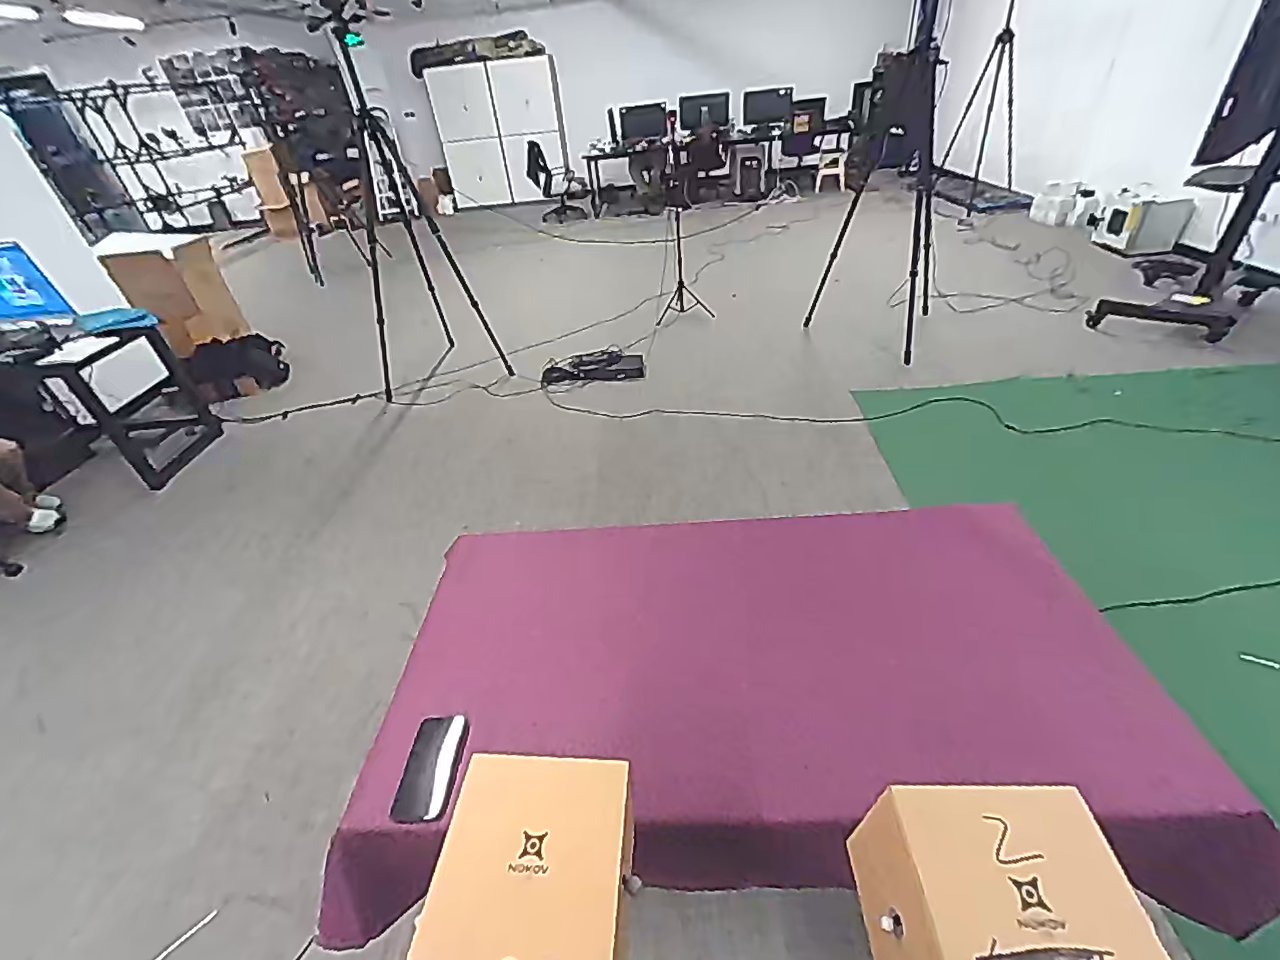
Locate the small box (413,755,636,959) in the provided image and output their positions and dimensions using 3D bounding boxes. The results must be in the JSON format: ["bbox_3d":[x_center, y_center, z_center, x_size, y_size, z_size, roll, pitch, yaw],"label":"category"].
[{"bbox_3d":[-0.093,0.404,0.531,0.168,0.176,0.179,2,35,3],"label":"small box"}]
